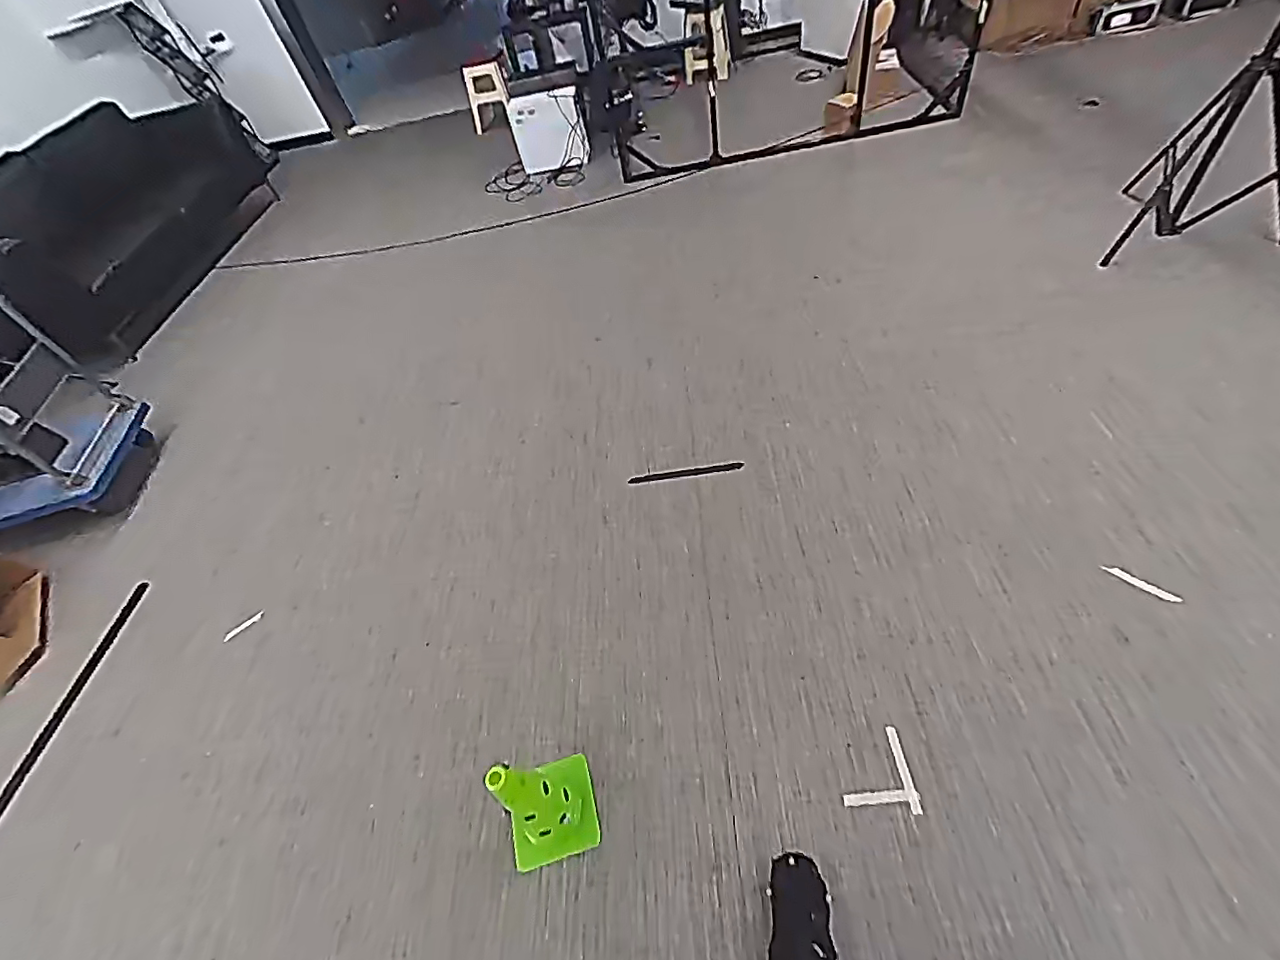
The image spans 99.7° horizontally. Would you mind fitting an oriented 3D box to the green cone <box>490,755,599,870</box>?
[{"bbox_3d":[-0.235,0.664,1.133,0.202,0.368,0.200,-18,50,-3],"label":"green cone"}]
